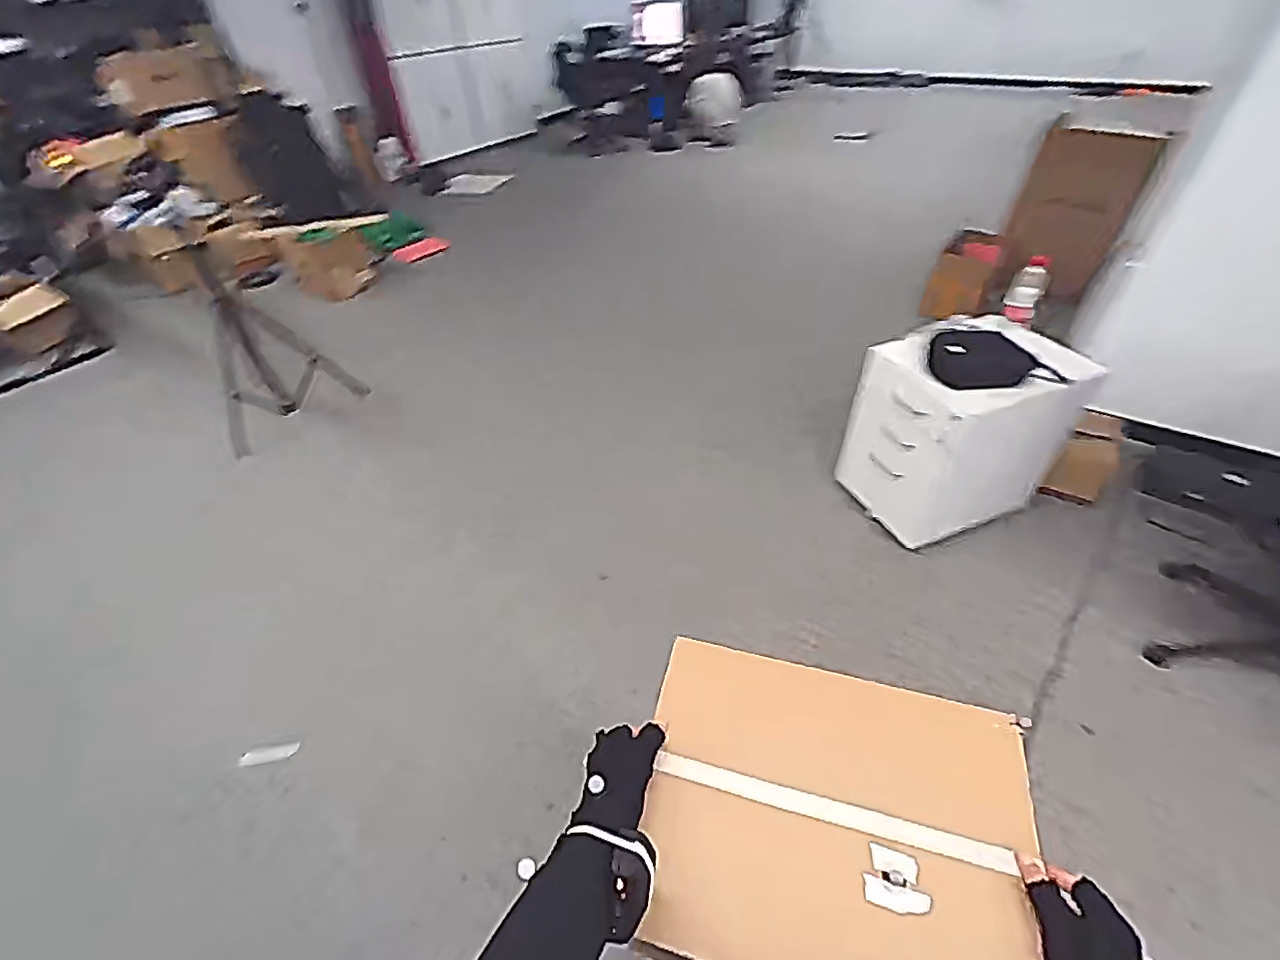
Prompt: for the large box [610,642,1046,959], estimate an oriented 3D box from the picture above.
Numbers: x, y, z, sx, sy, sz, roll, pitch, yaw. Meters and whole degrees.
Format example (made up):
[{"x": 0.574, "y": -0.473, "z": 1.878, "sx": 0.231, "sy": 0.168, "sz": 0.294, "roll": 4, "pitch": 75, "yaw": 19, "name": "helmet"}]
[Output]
[{"x": 0.207, "y": 0.454, "z": 0.690, "sx": 0.408, "sy": 0.320, "sz": 0.320, "roll": 9, "pitch": 48, "yaw": 14, "name": "large box"}]
